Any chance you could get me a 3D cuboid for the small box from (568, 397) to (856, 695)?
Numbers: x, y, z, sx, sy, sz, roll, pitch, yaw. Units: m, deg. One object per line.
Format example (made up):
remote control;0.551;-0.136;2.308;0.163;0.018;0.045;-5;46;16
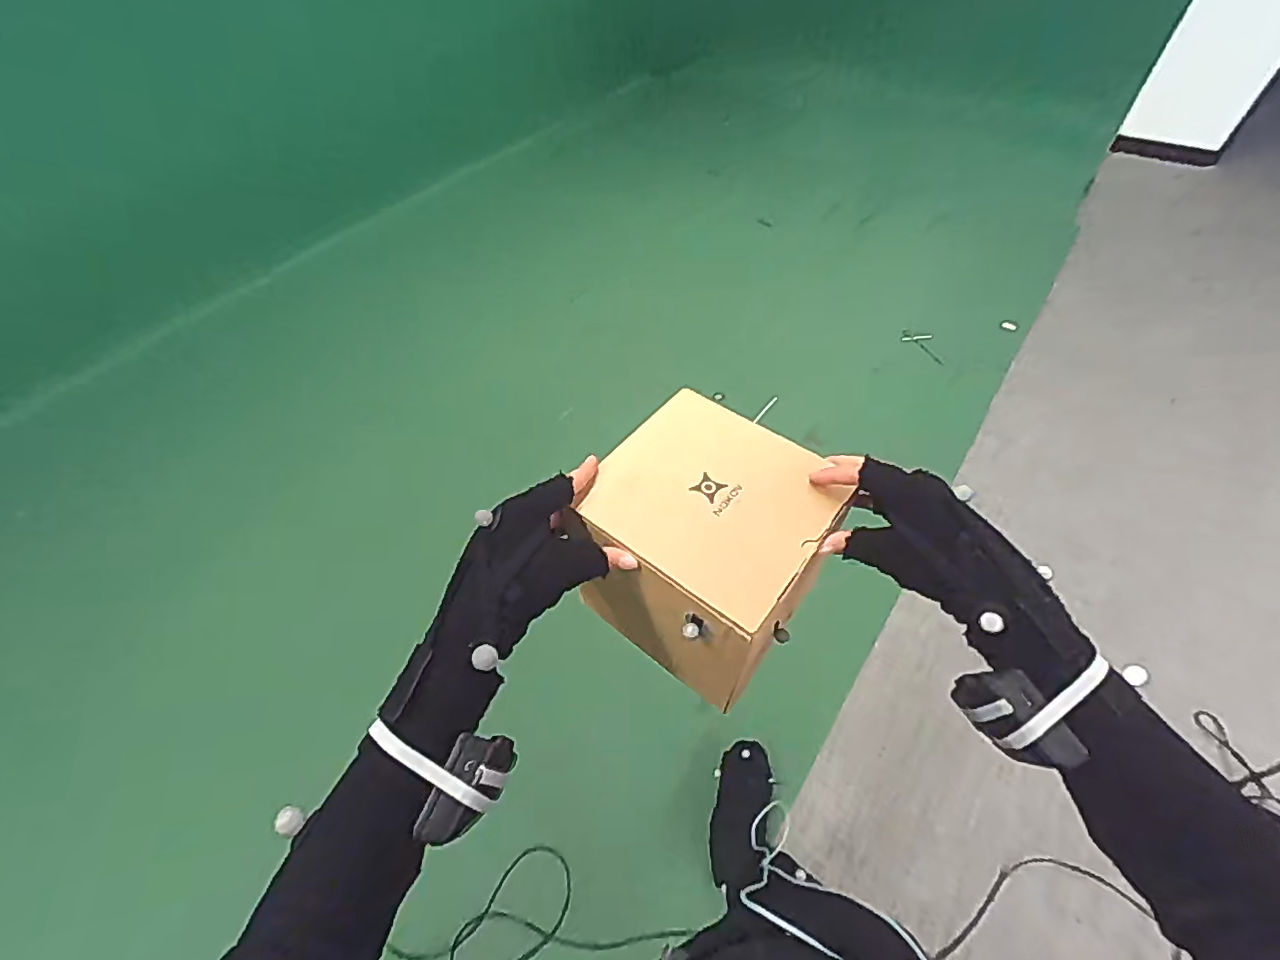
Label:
small box;0.056;0.062;0.491;0.179;0.176;0.168;33;58;22
